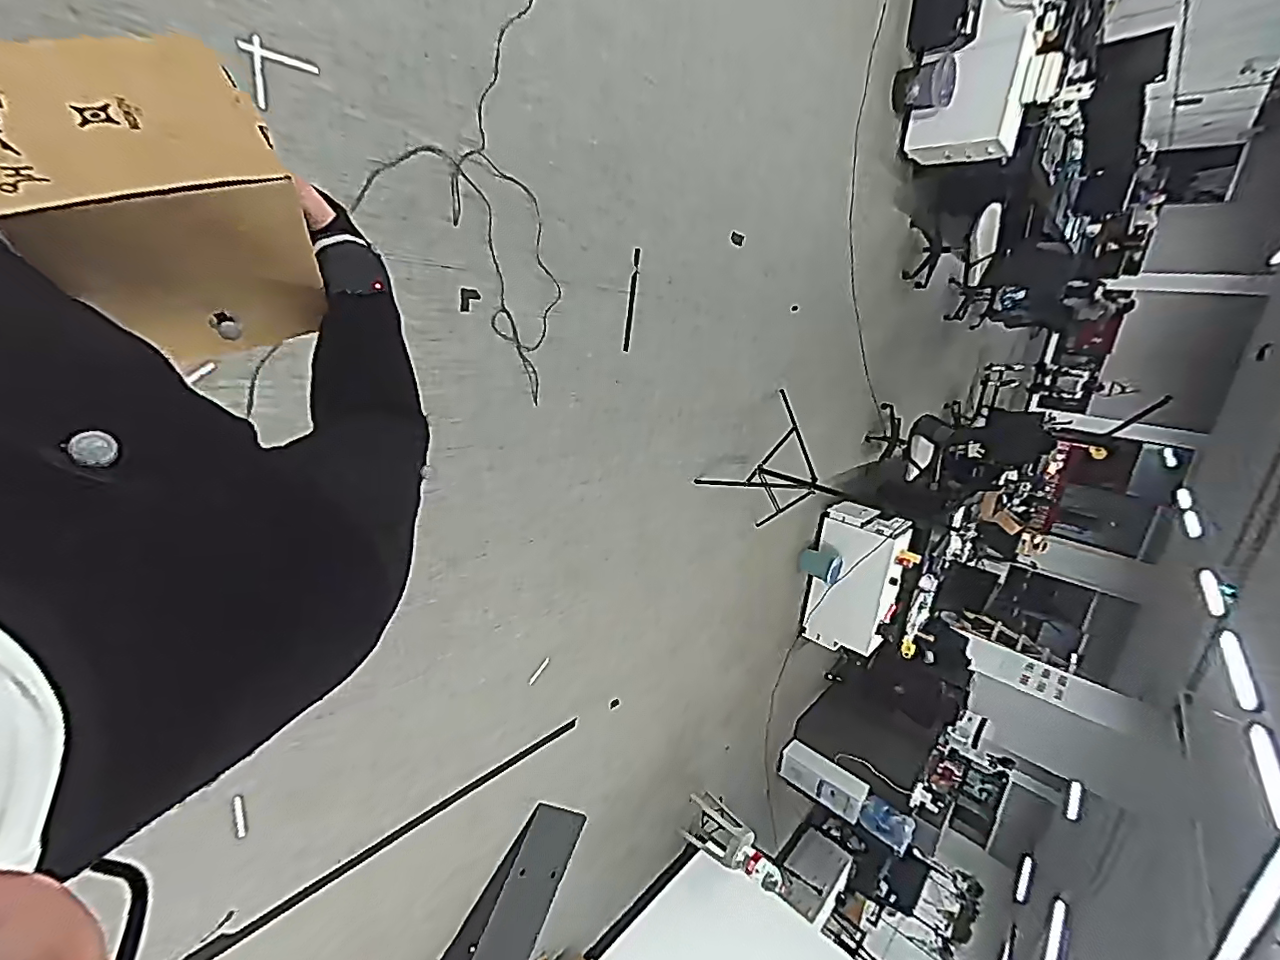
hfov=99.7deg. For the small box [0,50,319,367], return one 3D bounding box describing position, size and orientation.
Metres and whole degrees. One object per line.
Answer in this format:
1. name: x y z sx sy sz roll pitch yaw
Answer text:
1. small box: -0.405 -0.228 0.469 0.179 0.168 0.176 -27 165 -29
